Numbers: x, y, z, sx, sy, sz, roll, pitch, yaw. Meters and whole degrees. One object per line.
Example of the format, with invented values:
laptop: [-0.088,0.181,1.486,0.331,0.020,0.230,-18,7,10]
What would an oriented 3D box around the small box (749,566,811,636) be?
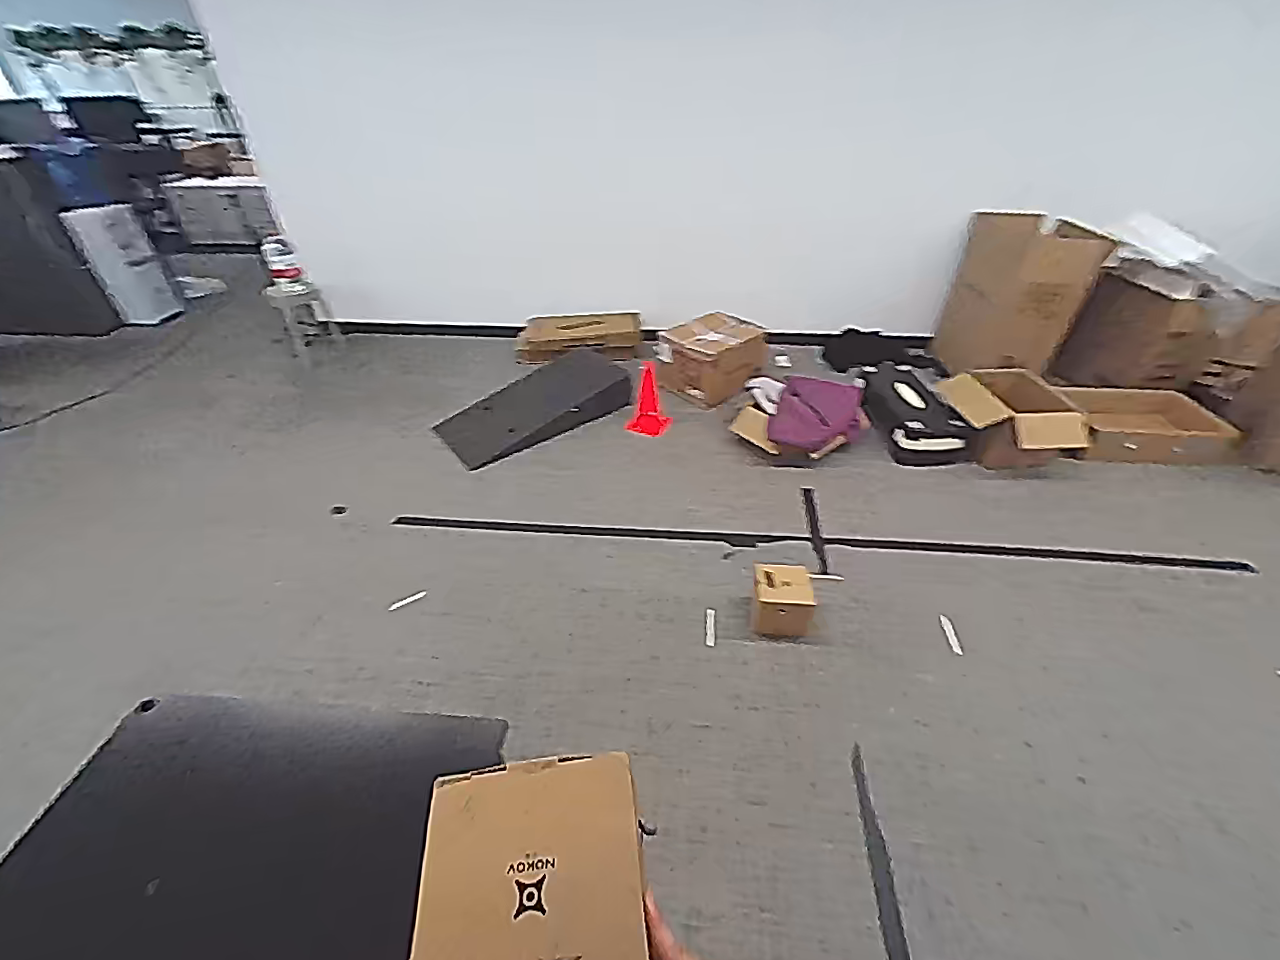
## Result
small box: [0.466,0.411,1.830,0.179,0.176,0.168,2,38,3]

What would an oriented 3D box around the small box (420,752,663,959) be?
small box: [-0.069,0.357,0.454,0.168,0.176,0.179,-7,46,-2]
